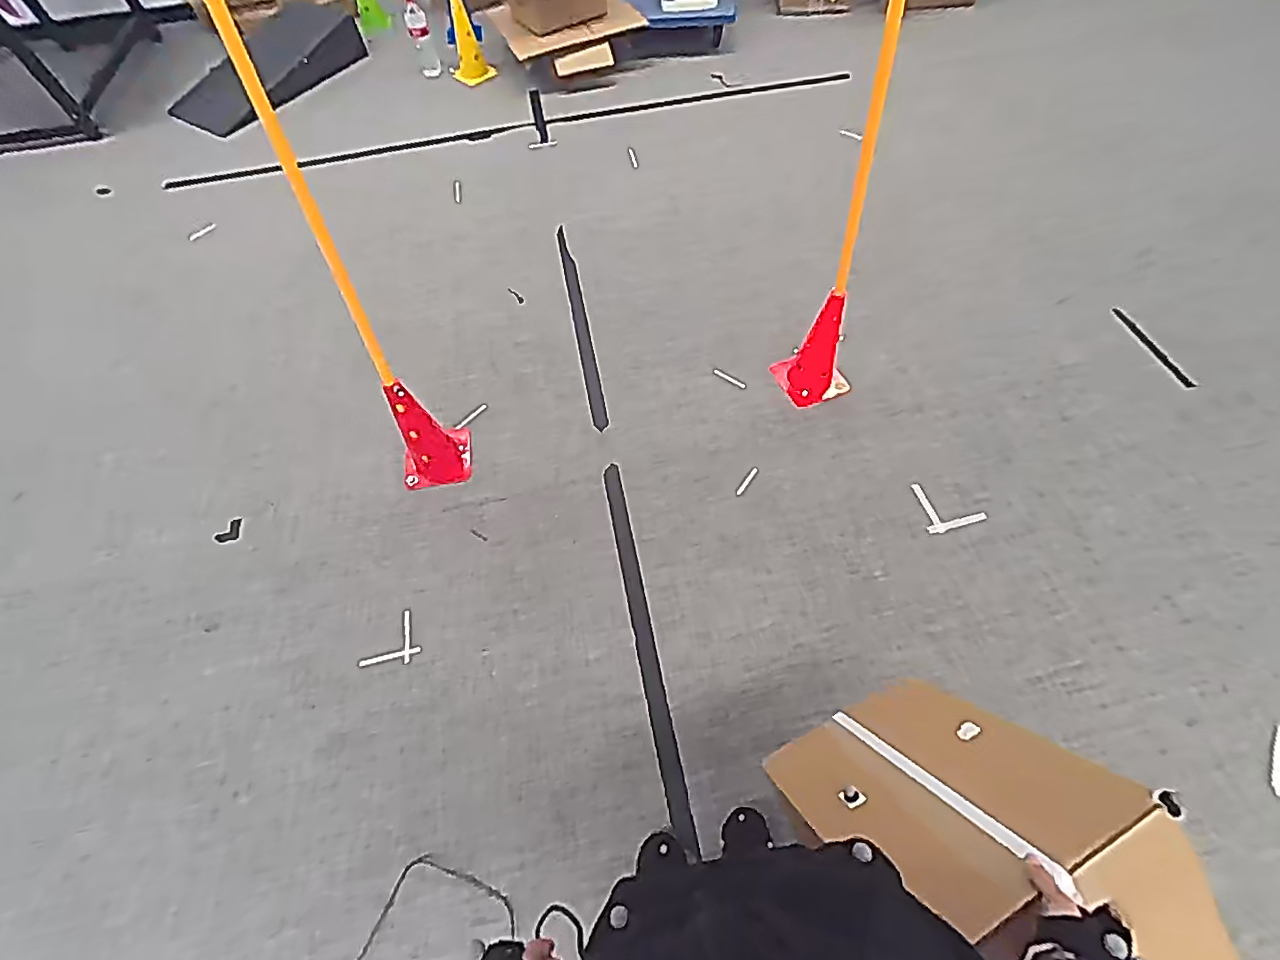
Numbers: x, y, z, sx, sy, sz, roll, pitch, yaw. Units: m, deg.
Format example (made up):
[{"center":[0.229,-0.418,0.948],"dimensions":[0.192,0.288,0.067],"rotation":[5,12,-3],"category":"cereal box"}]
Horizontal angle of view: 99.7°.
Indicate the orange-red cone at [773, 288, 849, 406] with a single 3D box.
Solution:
[{"center":[0.550,-0.419,1.610],"dimensions":[0.199,0.360,0.198],"rotation":[-19,61,-9],"category":"orange-red cone"}]
